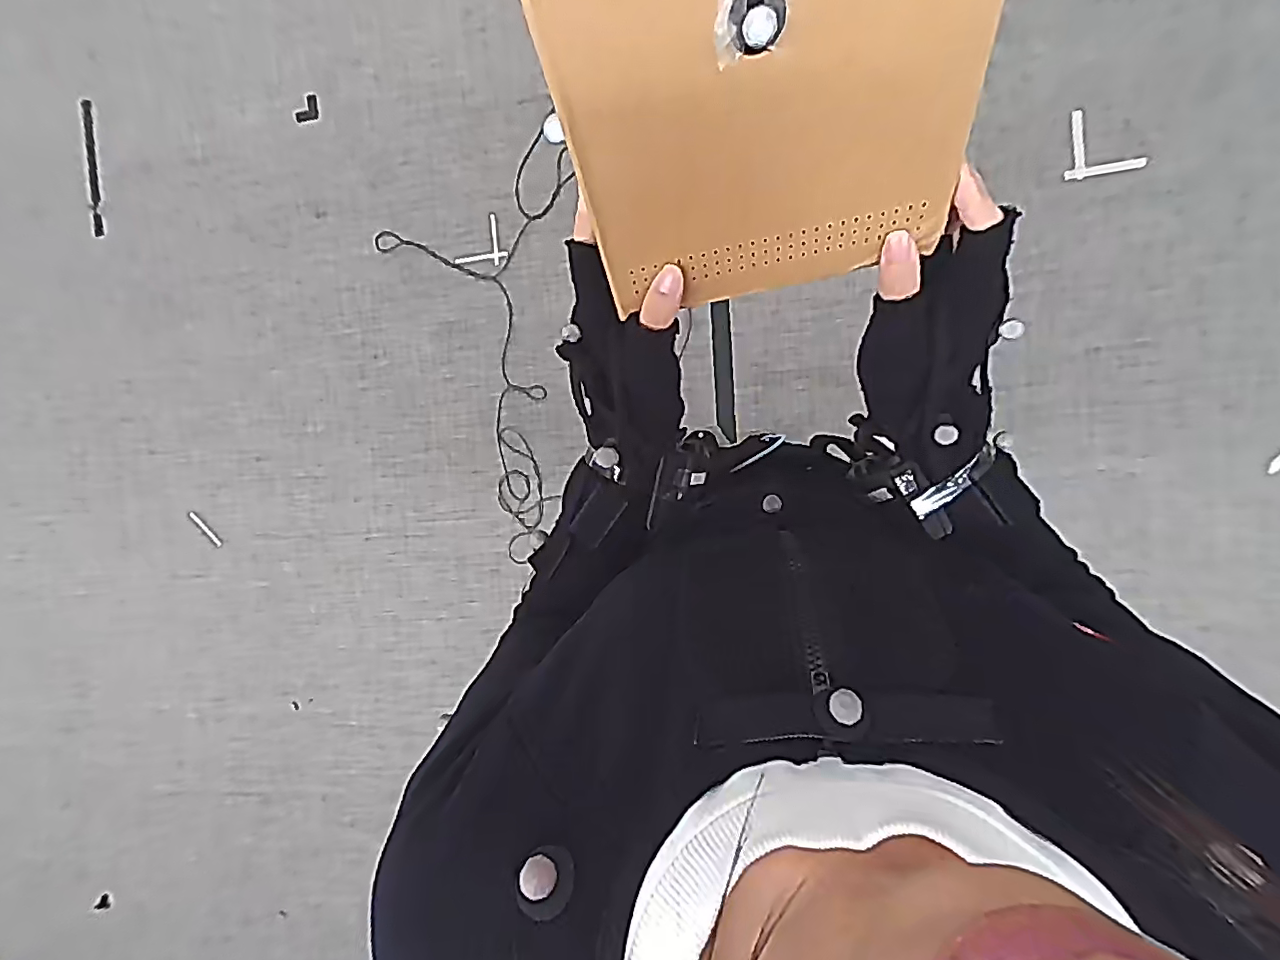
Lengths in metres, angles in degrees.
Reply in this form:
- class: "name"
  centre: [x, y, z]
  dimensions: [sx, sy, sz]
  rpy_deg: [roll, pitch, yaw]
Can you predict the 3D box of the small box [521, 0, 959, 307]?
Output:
- class: "small box"
  centre: [0.053, -0.219, 0.295]
  dimensions: [0.179, 0.176, 0.168]
  rpy_deg: [-9, 56, 9]
